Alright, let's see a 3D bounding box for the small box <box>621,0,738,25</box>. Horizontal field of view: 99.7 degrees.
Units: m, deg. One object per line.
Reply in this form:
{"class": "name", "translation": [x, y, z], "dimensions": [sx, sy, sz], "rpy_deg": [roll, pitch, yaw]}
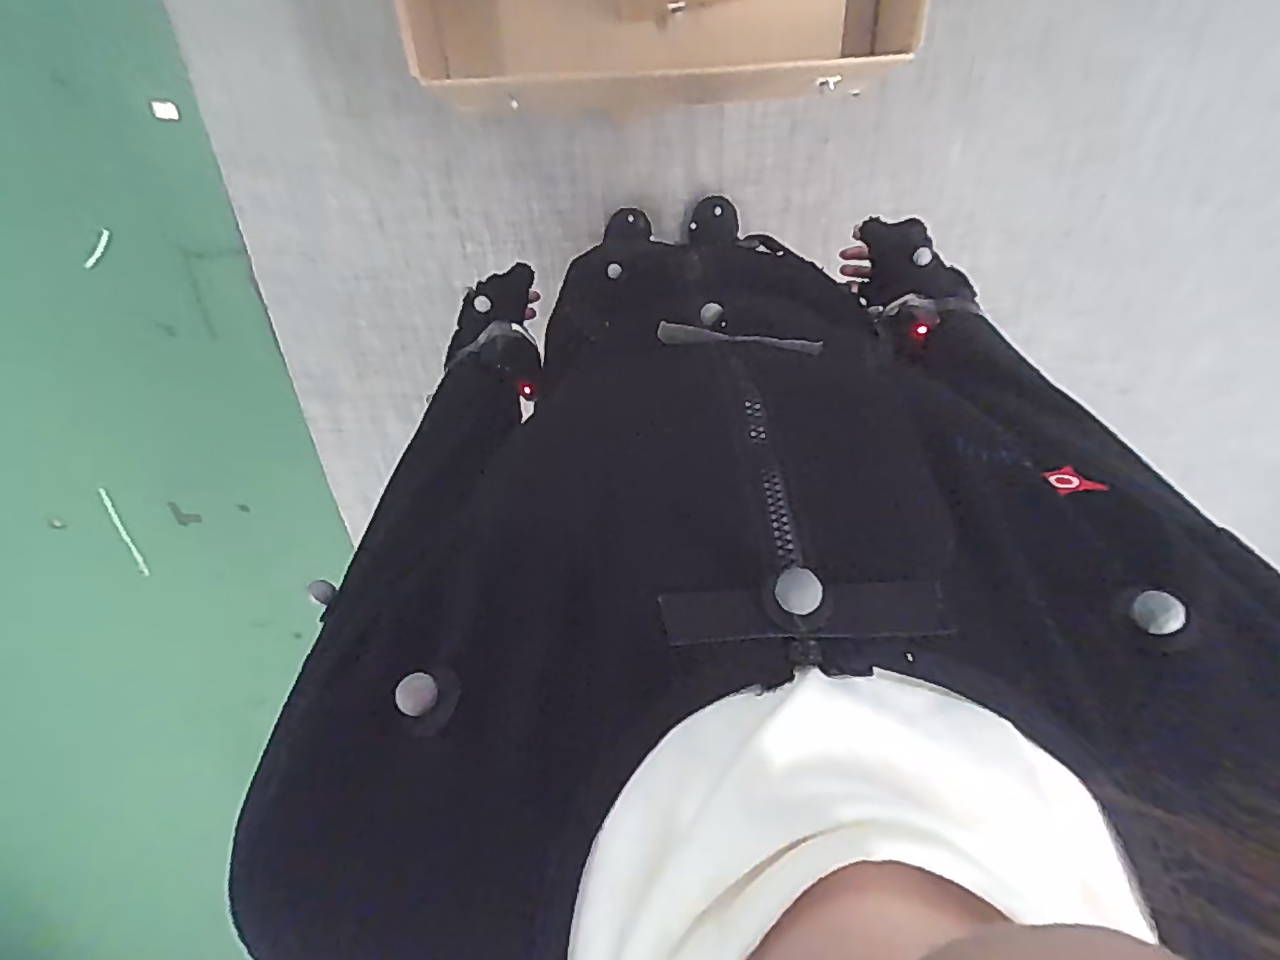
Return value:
{"class": "small box", "translation": [0.044, -0.674, 0.627], "dimensions": [0.168, 0.176, 0.179], "rpy_deg": [-7, 118, 6]}
